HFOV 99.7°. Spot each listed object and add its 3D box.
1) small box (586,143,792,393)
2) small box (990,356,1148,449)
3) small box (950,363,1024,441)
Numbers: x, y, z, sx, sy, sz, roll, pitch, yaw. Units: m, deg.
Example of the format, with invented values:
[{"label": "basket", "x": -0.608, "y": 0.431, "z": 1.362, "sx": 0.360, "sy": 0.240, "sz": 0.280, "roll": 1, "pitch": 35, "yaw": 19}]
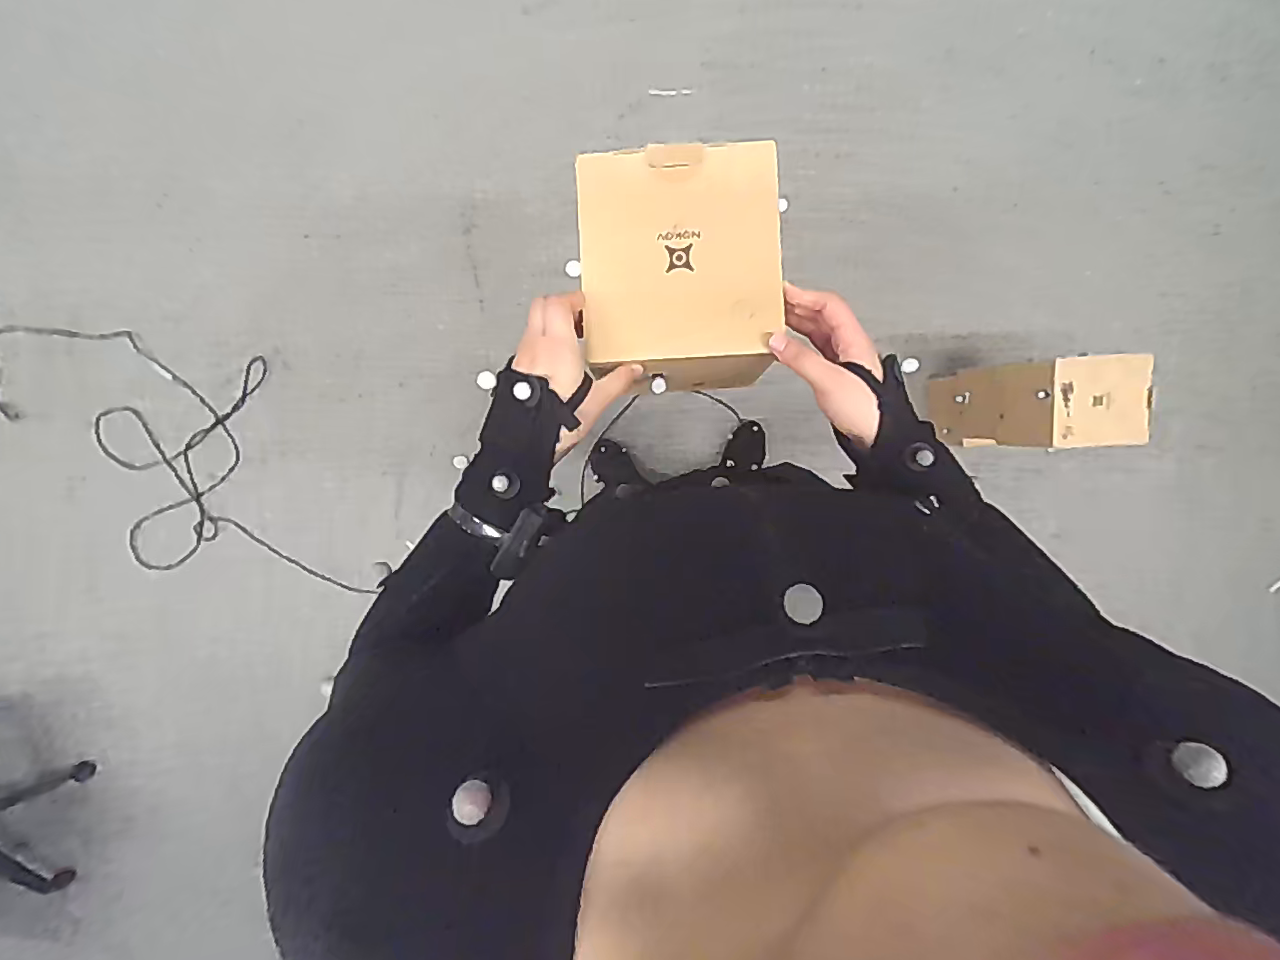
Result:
[{"label": "small box", "x": 0.043, "y": -0.182, "z": 0.519, "sx": 0.168, "sy": 0.176, "sz": 0.179, "roll": -3, "pitch": 89, "yaw": 2}, {"label": "small box", "x": 0.830, "y": -0.150, "z": 1.060, "sx": 0.179, "sy": 0.176, "sz": 0.168, "roll": -3, "pitch": 96, "yaw": 0}, {"label": "small box", "x": 0.837, "y": -0.176, "z": 1.222, "sx": 0.179, "sy": 0.176, "sz": 0.168, "roll": -2, "pitch": 96, "yaw": 2}]
